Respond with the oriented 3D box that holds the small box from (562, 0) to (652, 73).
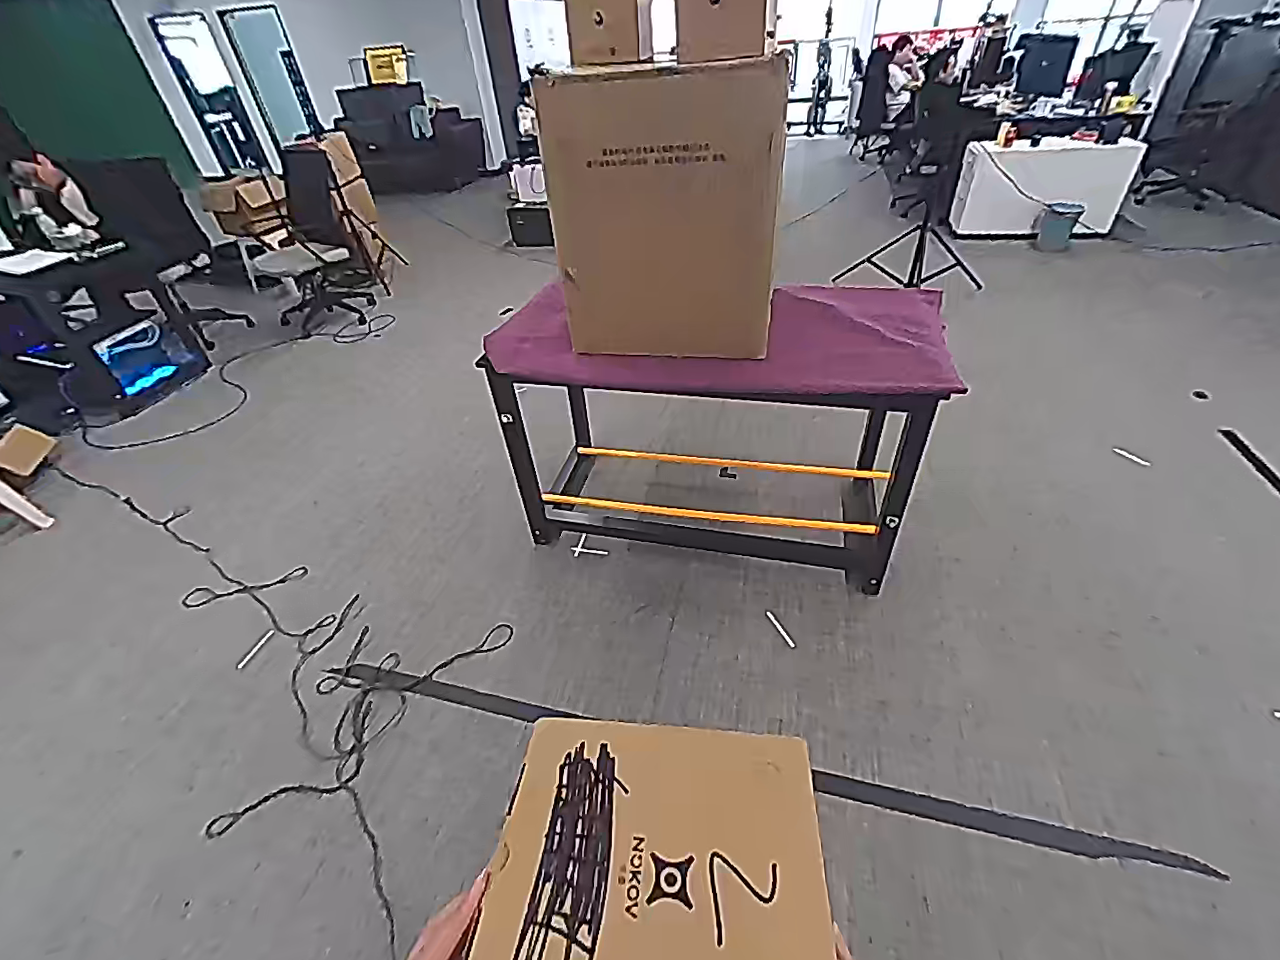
[{"bbox_3d":[-0.068,-1.050,1.247,0.168,0.176,0.179,6,41,12],"label":"small box"}]
